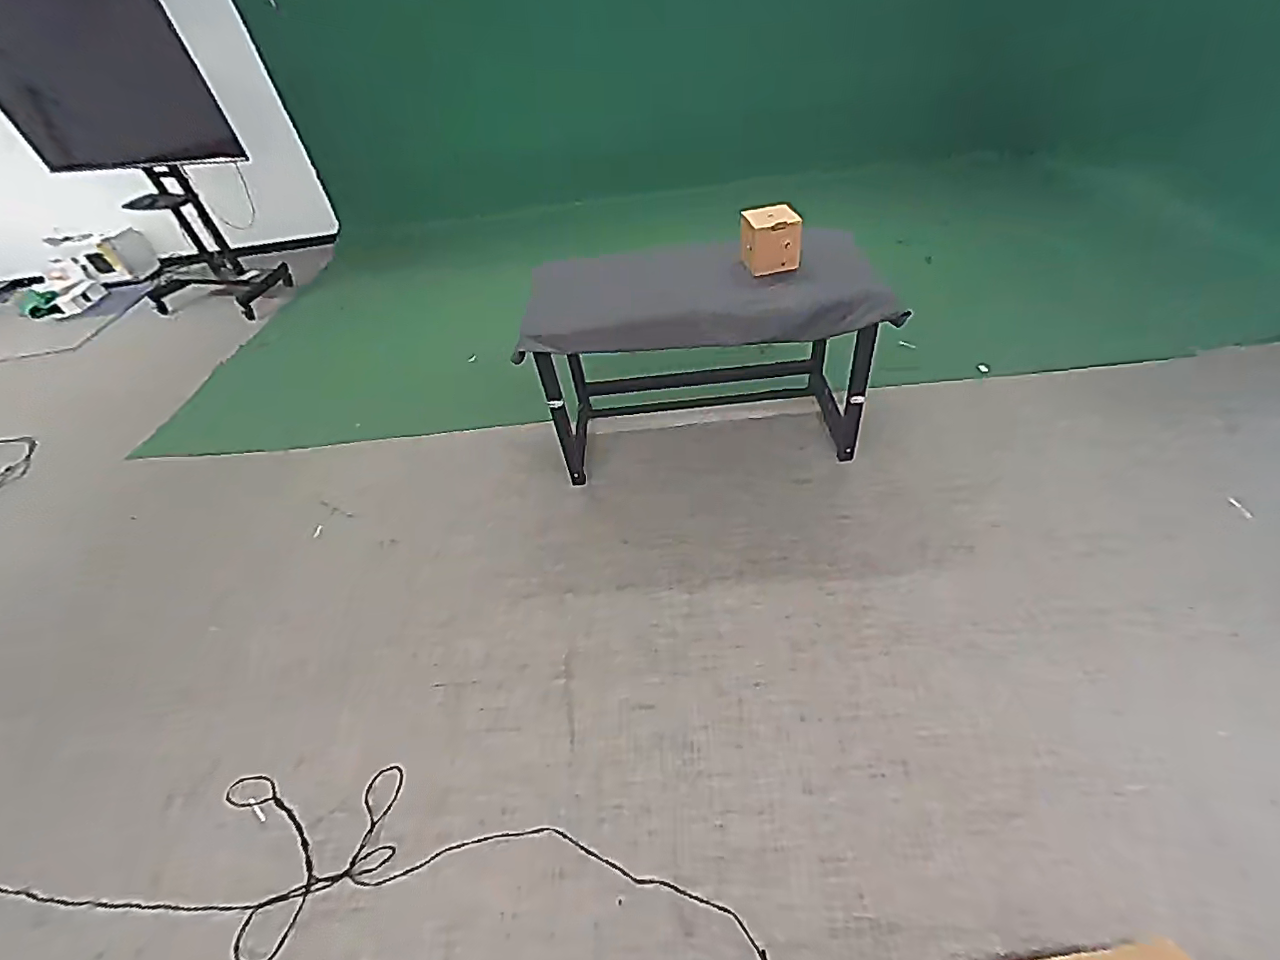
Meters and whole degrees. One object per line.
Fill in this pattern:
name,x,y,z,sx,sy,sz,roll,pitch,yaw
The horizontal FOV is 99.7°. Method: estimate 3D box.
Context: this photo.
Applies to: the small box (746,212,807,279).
small box,0.483,-0.832,1.932,0.168,0.176,0.179,-10,42,-2
